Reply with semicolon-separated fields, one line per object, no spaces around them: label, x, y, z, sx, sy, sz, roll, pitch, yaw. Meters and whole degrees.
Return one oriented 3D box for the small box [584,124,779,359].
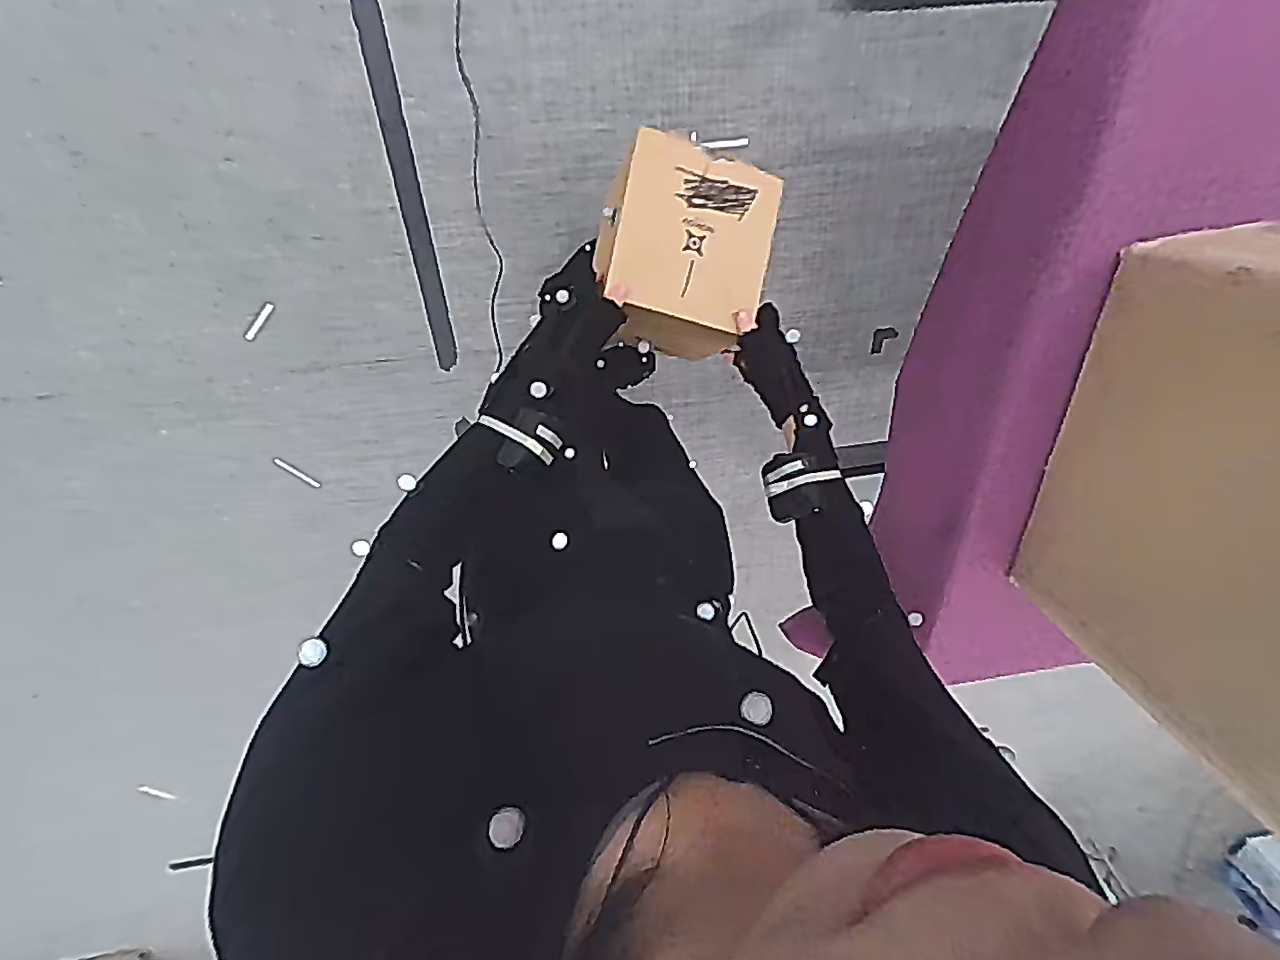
small box;0.036;-0.257;0.631;0.168;0.176;0.179;11;89;-14
